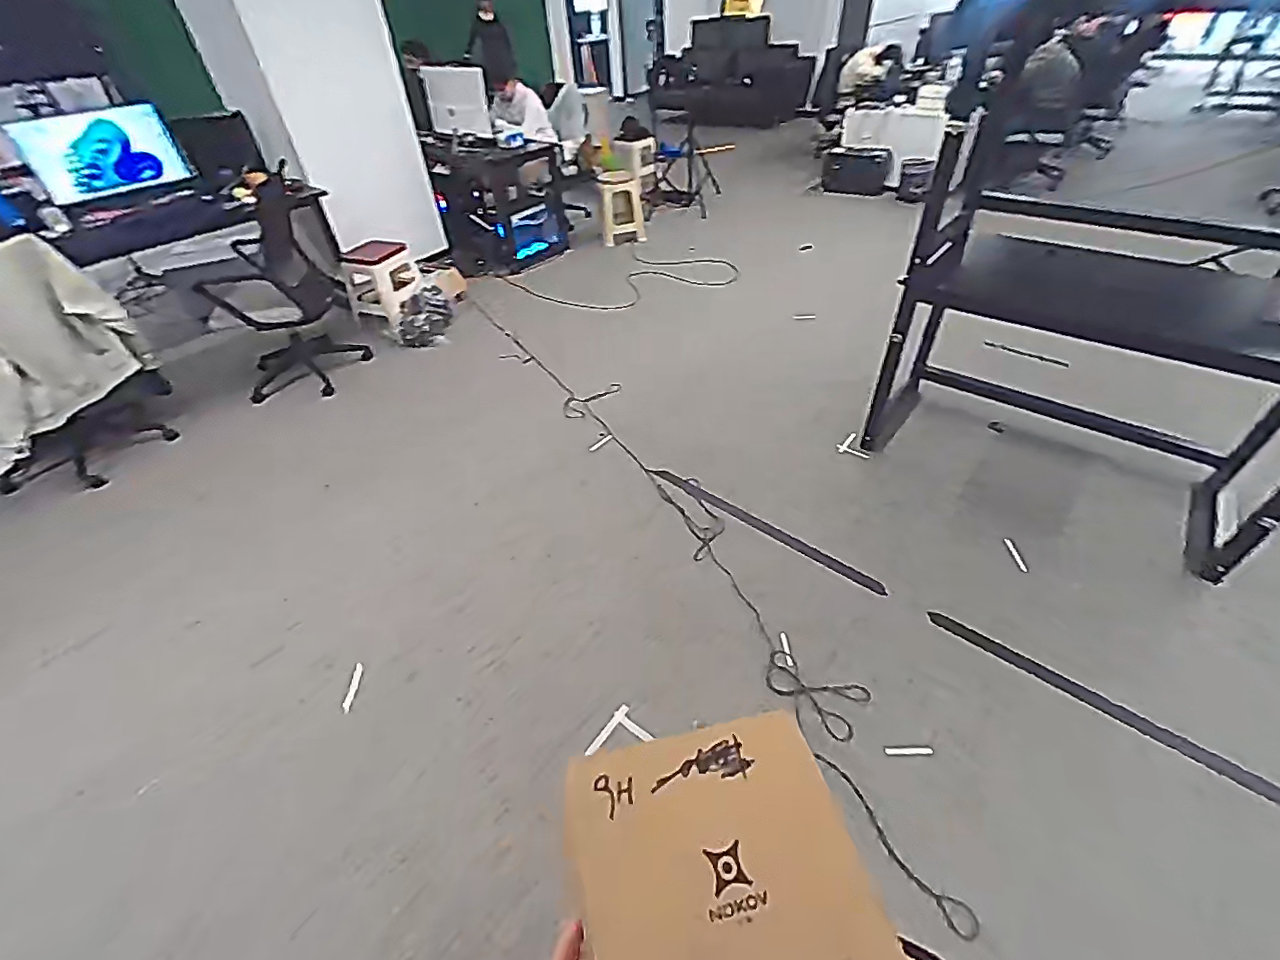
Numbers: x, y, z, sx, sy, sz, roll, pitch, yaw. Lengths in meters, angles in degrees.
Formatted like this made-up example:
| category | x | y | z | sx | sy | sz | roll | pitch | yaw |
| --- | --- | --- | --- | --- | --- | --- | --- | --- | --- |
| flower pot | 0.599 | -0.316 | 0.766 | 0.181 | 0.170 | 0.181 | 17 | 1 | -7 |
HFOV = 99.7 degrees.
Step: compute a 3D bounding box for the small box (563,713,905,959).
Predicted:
| category | x | y | z | sx | sy | sz | roll | pitch | yaw |
| --- | --- | --- | --- | --- | --- | --- | --- | --- | --- |
| small box | 0.043 | 0.286 | 0.360 | 0.168 | 0.176 | 0.179 | -4 | 46 | -16 |
